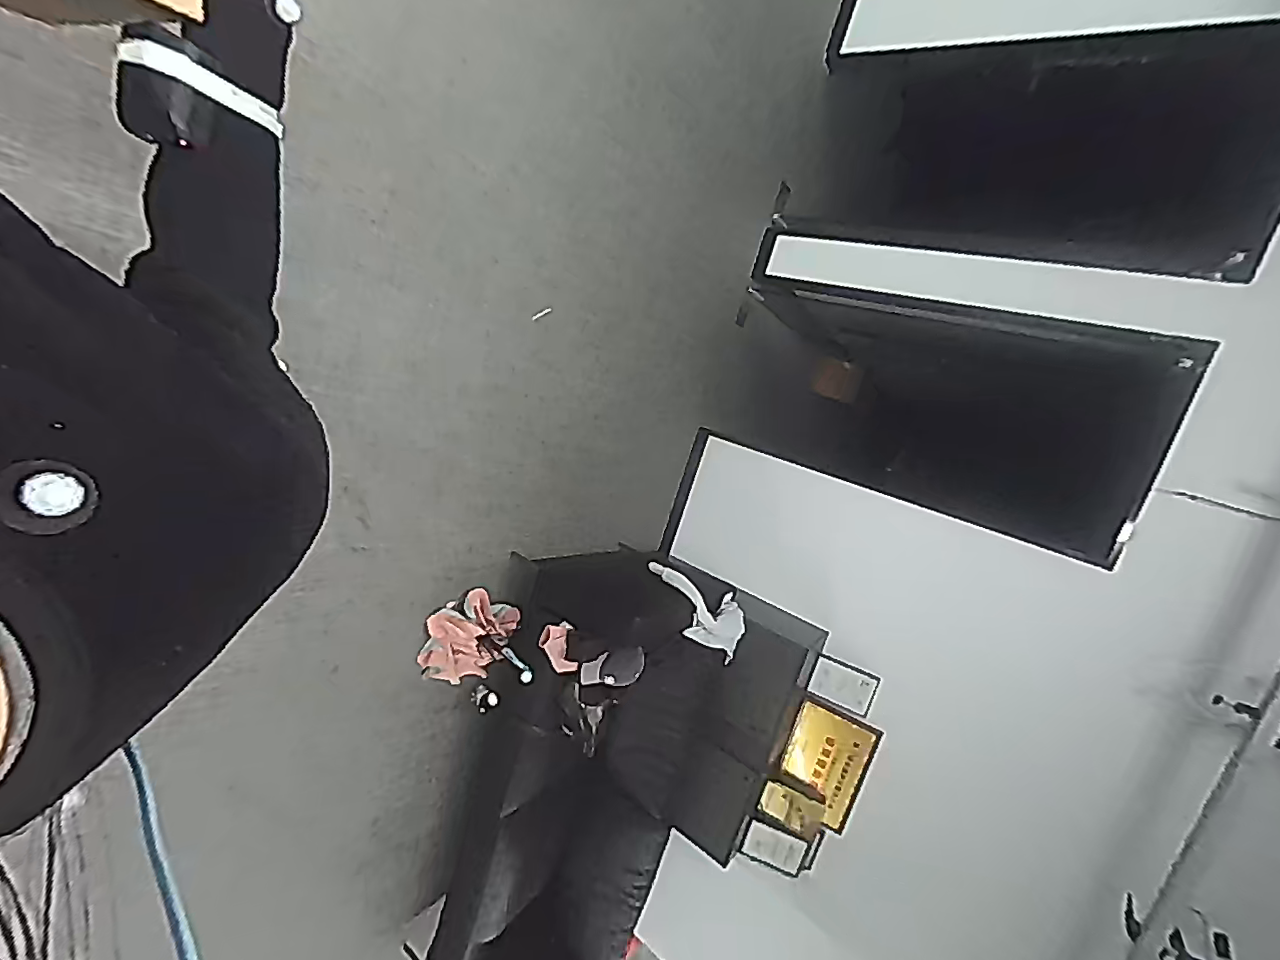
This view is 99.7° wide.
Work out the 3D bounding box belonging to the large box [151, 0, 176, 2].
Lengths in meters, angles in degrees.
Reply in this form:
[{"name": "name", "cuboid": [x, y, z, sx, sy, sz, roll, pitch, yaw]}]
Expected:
[{"name": "large box", "cuboid": [-0.484, -0.479, 0.213, 0.408, 0.320, 0.320, -14, 124, -55]}]
